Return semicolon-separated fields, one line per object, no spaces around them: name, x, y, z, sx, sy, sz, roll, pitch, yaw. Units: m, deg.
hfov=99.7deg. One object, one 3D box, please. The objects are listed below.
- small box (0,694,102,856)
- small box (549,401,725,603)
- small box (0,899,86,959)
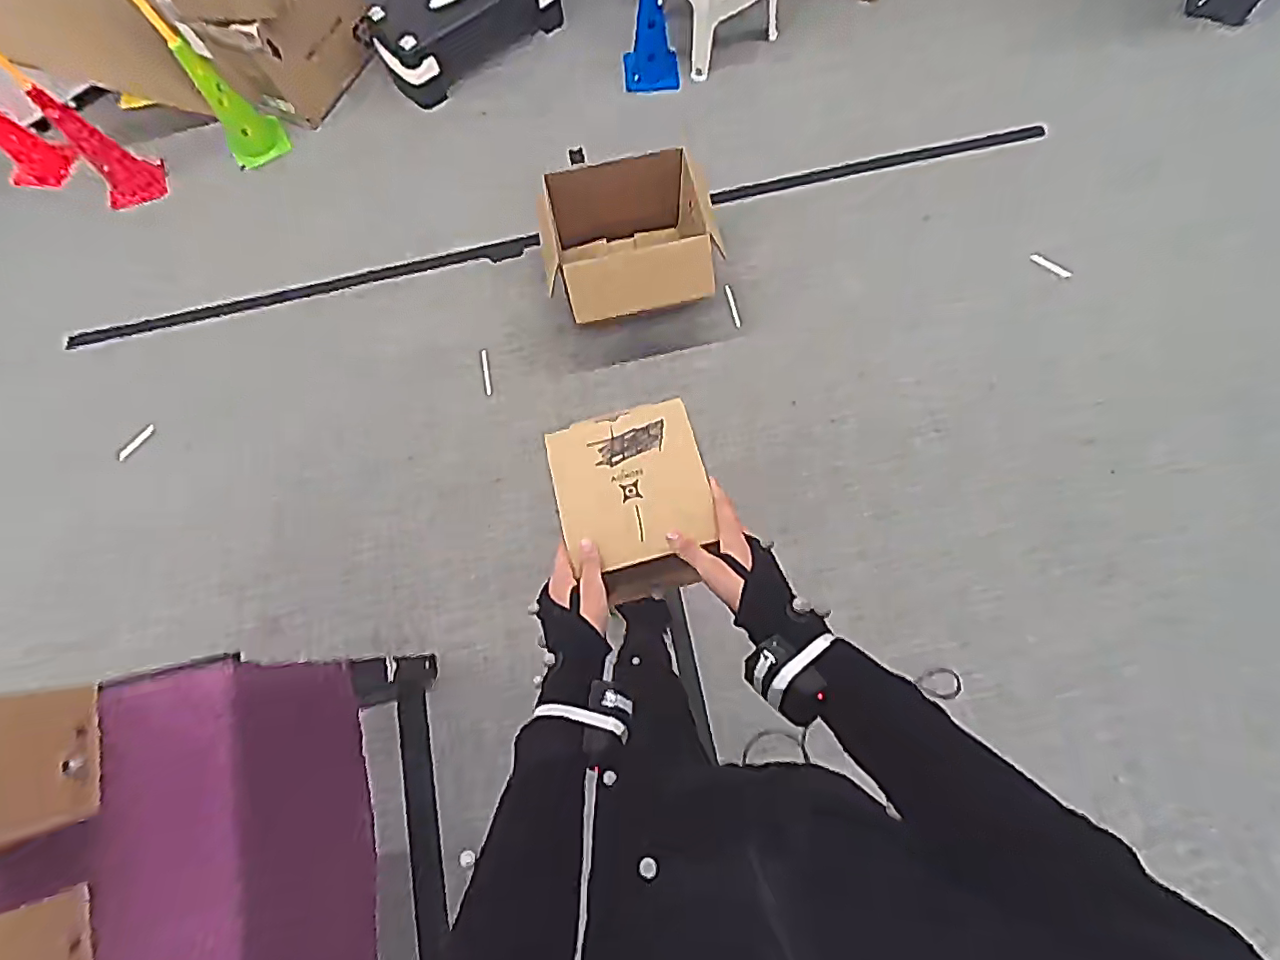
small box;-0.797;0.365;0.632;0.179;0.176;0.168;-17;75;-2
small box;-0.001;0.035;0.662;0.168;0.176;0.179;-15;66;1
small box;-0.739;0.587;0.564;0.179;0.176;0.168;-19;73;-3
